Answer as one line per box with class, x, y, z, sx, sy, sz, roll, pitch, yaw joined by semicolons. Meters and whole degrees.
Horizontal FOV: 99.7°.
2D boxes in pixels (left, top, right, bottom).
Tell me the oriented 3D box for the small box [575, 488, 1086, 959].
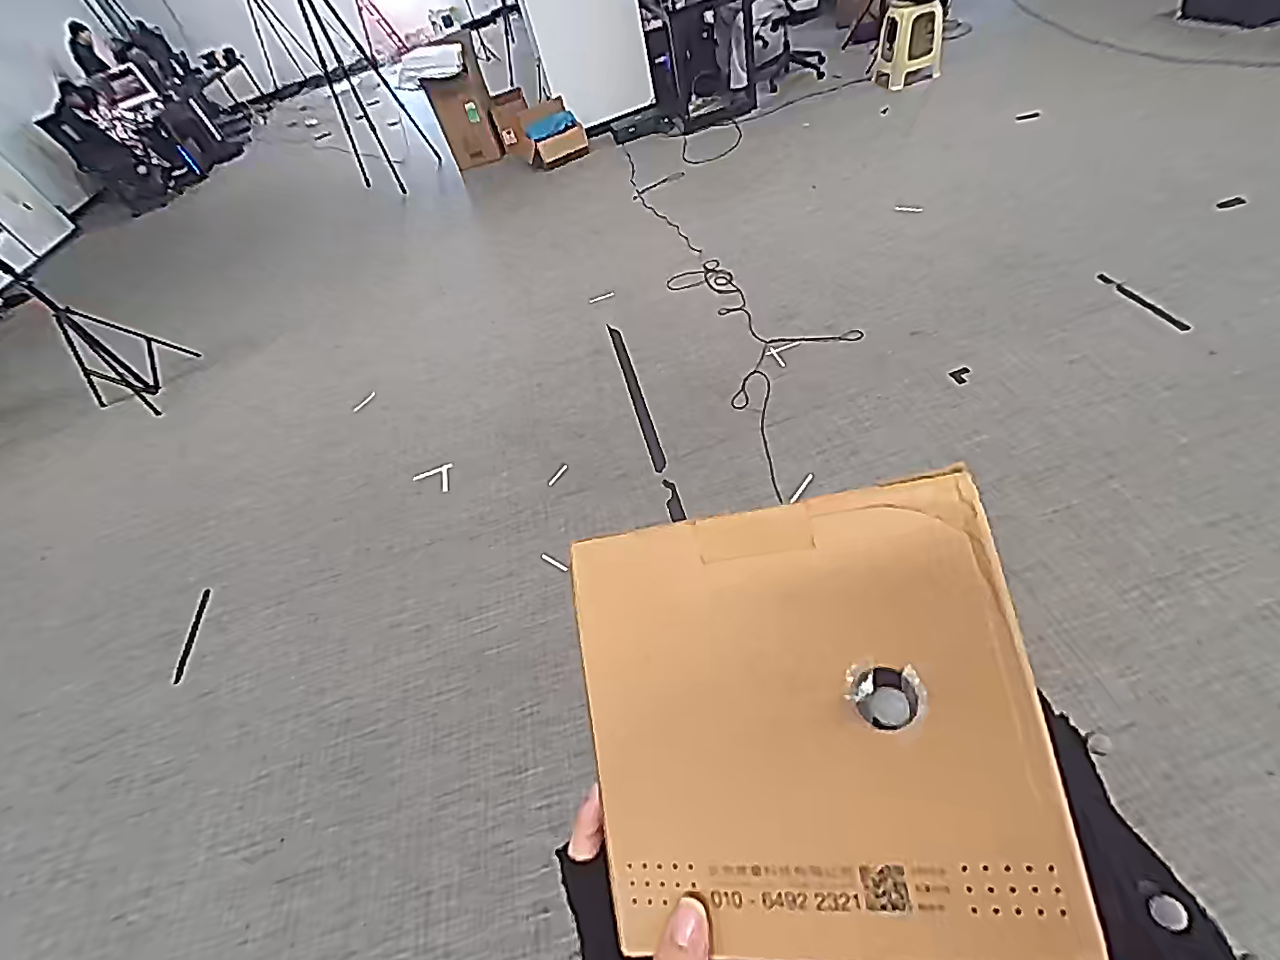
small box;0.086;0.110;0.284;0.168;0.179;0.176;-12;80;18
